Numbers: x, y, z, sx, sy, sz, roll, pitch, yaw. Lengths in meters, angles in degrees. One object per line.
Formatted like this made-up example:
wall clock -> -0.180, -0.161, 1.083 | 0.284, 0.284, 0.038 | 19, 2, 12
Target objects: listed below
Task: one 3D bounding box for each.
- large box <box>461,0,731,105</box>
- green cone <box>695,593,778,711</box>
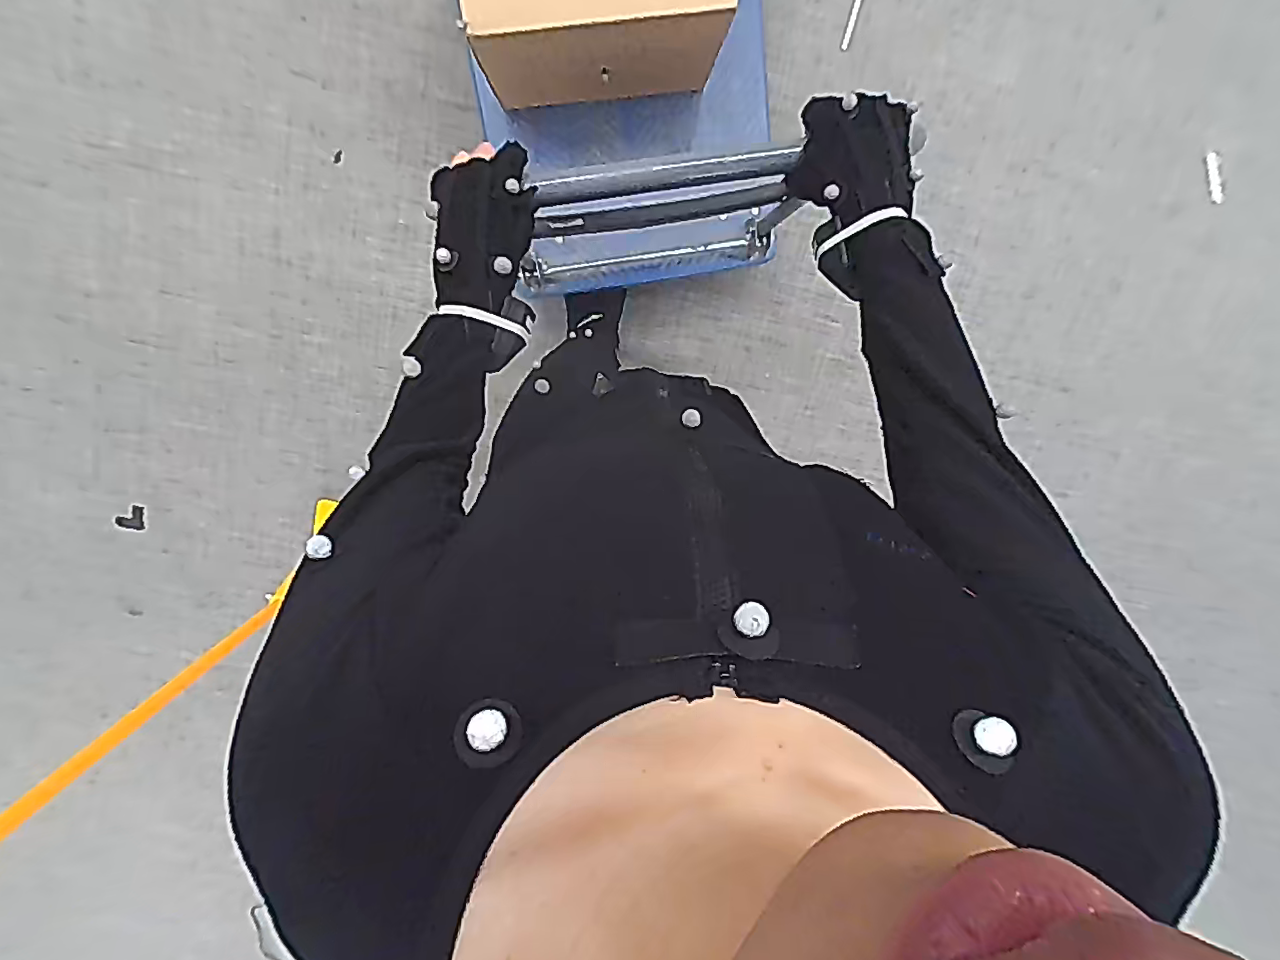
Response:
large box -> -0.083, -0.869, 0.899 | 0.408, 0.320, 0.320 | -7, 108, 0
green cone -> 0.297, 0.498, 1.486 | 0.202, 0.368, 0.200 | 15, 105, -9
